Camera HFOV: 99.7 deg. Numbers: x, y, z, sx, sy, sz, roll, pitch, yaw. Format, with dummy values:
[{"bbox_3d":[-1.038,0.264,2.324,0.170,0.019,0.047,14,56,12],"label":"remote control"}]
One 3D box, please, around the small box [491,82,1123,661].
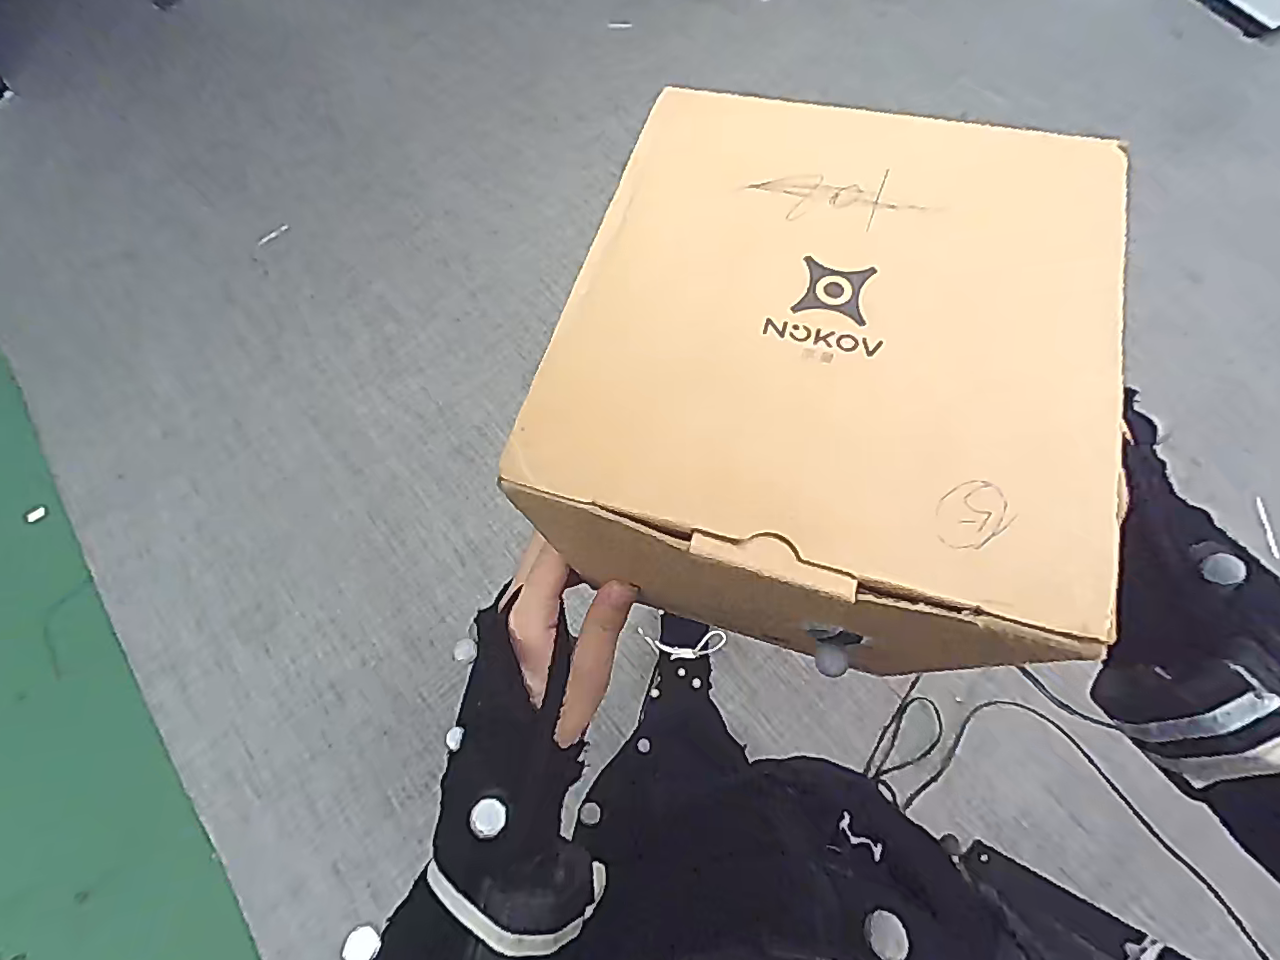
[{"bbox_3d":[0.064,-0.029,0.243,0.168,0.176,0.179,15,70,10],"label":"small box"}]
